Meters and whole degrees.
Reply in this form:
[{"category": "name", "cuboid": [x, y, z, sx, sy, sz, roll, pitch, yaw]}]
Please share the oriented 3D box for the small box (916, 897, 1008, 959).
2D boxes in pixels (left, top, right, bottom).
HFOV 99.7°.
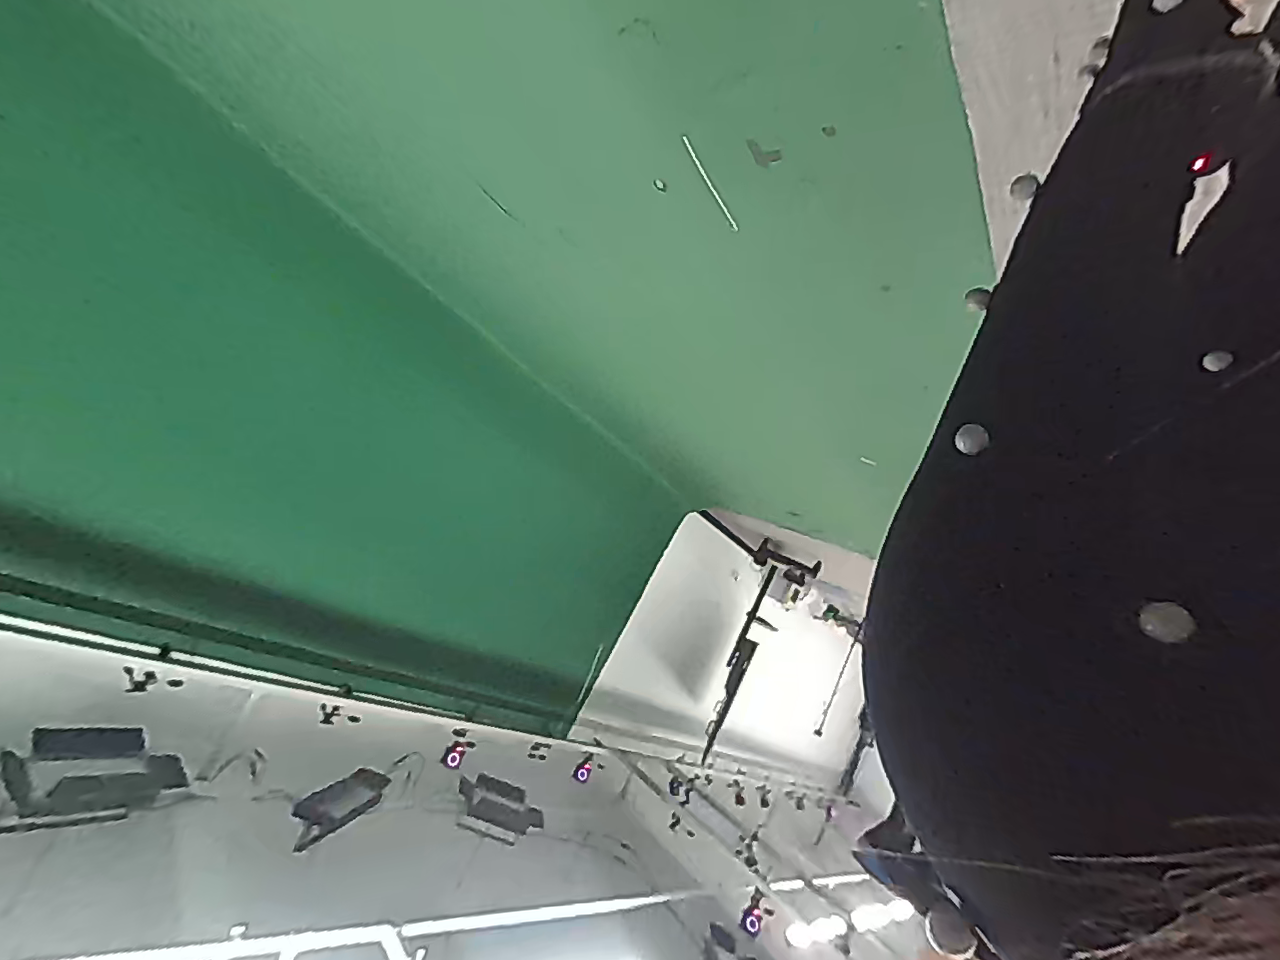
[{"category": "small box", "cuboid": [0.904, 1.309, 1.508, 0.168, 0.176, 0.179, 18, 165, 45]}]
